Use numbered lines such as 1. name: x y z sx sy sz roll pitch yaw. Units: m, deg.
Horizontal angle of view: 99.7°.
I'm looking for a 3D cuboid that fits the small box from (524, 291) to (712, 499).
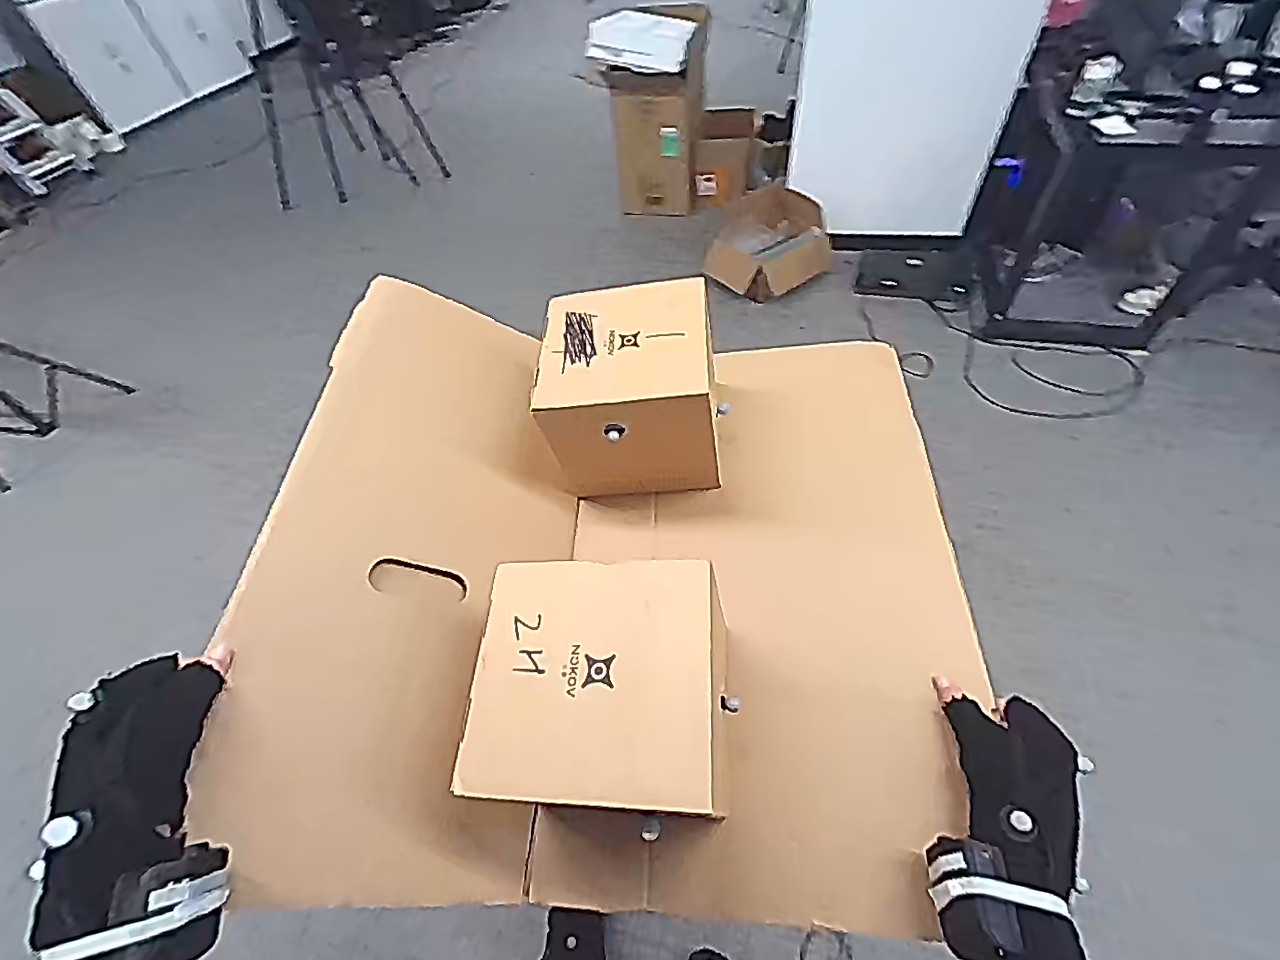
1. small box: -0.013 -0.089 0.629 0.179 0.176 0.168 -4 57 10
